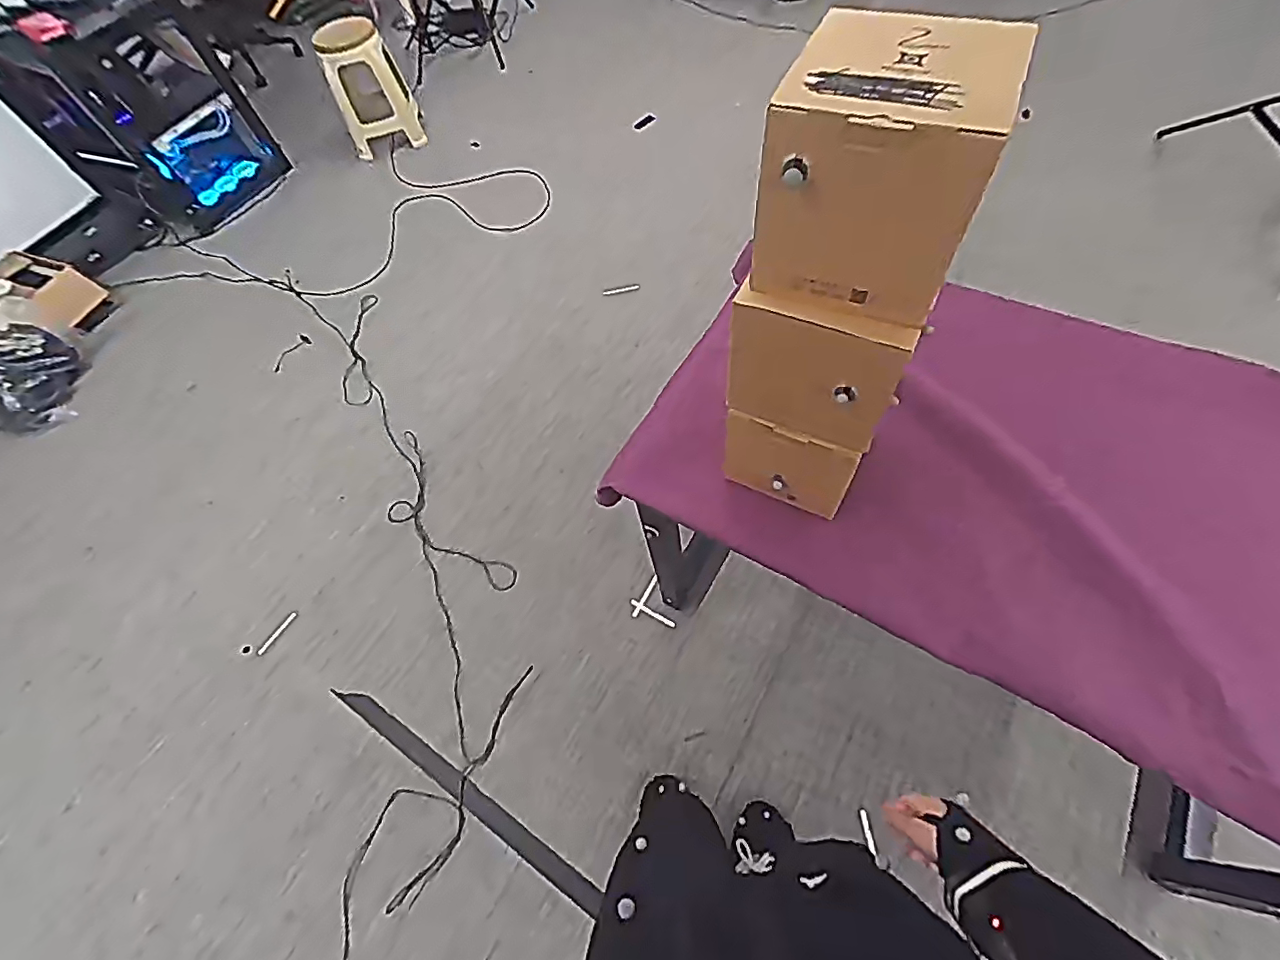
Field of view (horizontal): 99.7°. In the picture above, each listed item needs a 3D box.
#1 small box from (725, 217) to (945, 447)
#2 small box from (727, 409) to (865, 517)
[{"bbox_3d":[0.208,-0.161,0.615,0.179,0.176,0.168,22,63,19],"label":"small box"},{"bbox_3d":[0.226,-0.079,0.754,0.168,0.176,0.179,23,66,19],"label":"small box"}]
